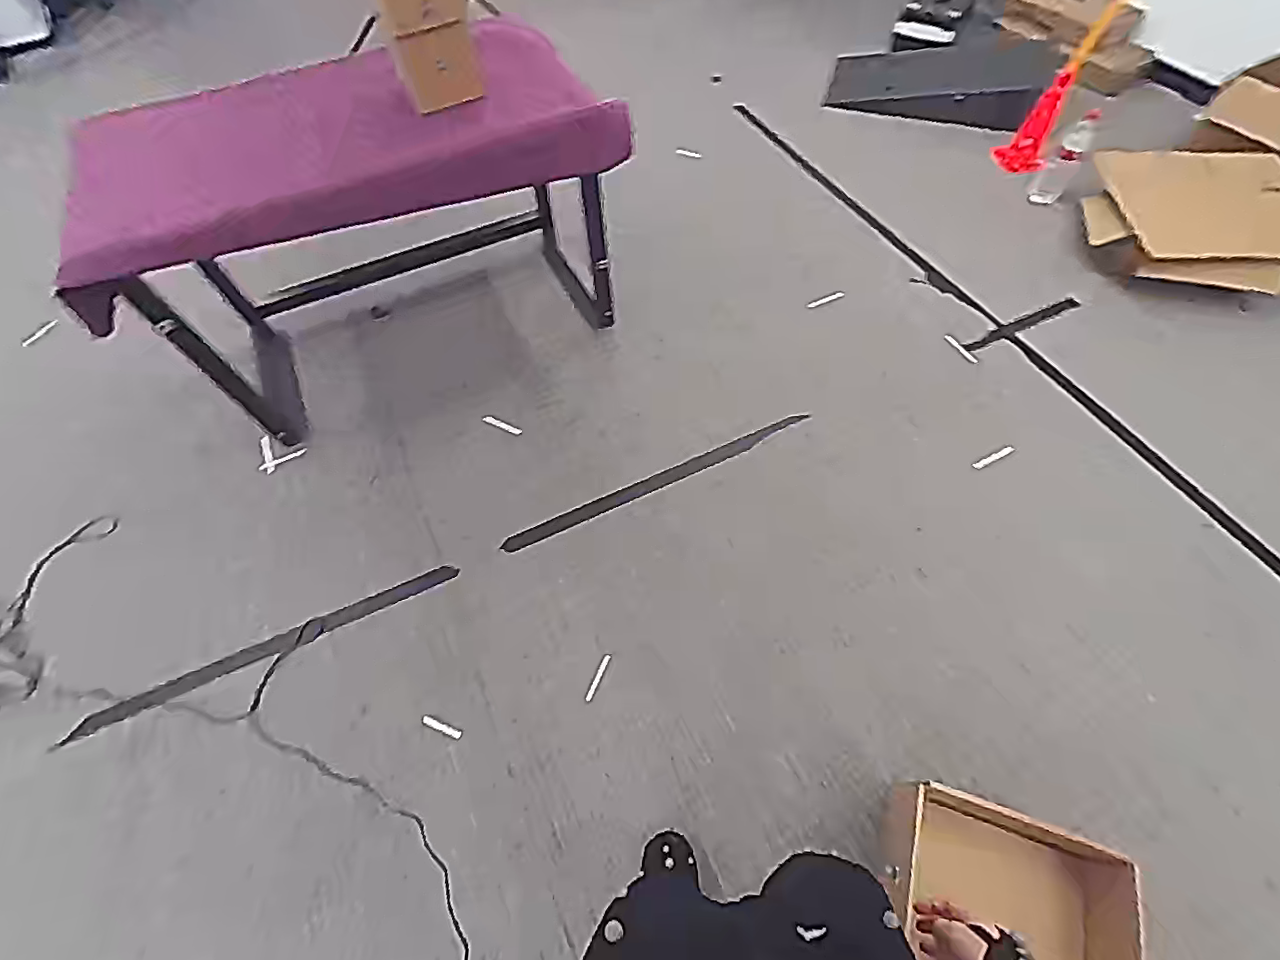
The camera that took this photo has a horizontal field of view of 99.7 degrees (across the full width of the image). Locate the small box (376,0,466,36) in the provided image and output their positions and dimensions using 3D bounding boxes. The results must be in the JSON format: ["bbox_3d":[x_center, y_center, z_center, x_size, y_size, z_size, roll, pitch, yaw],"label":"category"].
[{"bbox_3d":[-0.503,-1.124,1.190,0.179,0.176,0.168,-28,63,-14],"label":"small box"}]

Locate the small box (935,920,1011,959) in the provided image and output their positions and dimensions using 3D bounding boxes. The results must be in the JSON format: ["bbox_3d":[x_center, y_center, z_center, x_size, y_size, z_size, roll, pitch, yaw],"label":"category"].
[{"bbox_3d":[0.654,0.933,0.968,0.179,0.176,0.168,20,62,12],"label":"small box"}]

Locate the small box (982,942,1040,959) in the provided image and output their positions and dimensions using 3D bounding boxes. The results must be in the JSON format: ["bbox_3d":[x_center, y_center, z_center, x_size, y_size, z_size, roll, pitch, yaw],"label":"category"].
[{"bbox_3d":[0.652,0.855,0.827,0.179,0.176,0.168,19,62,12],"label":"small box"}]
